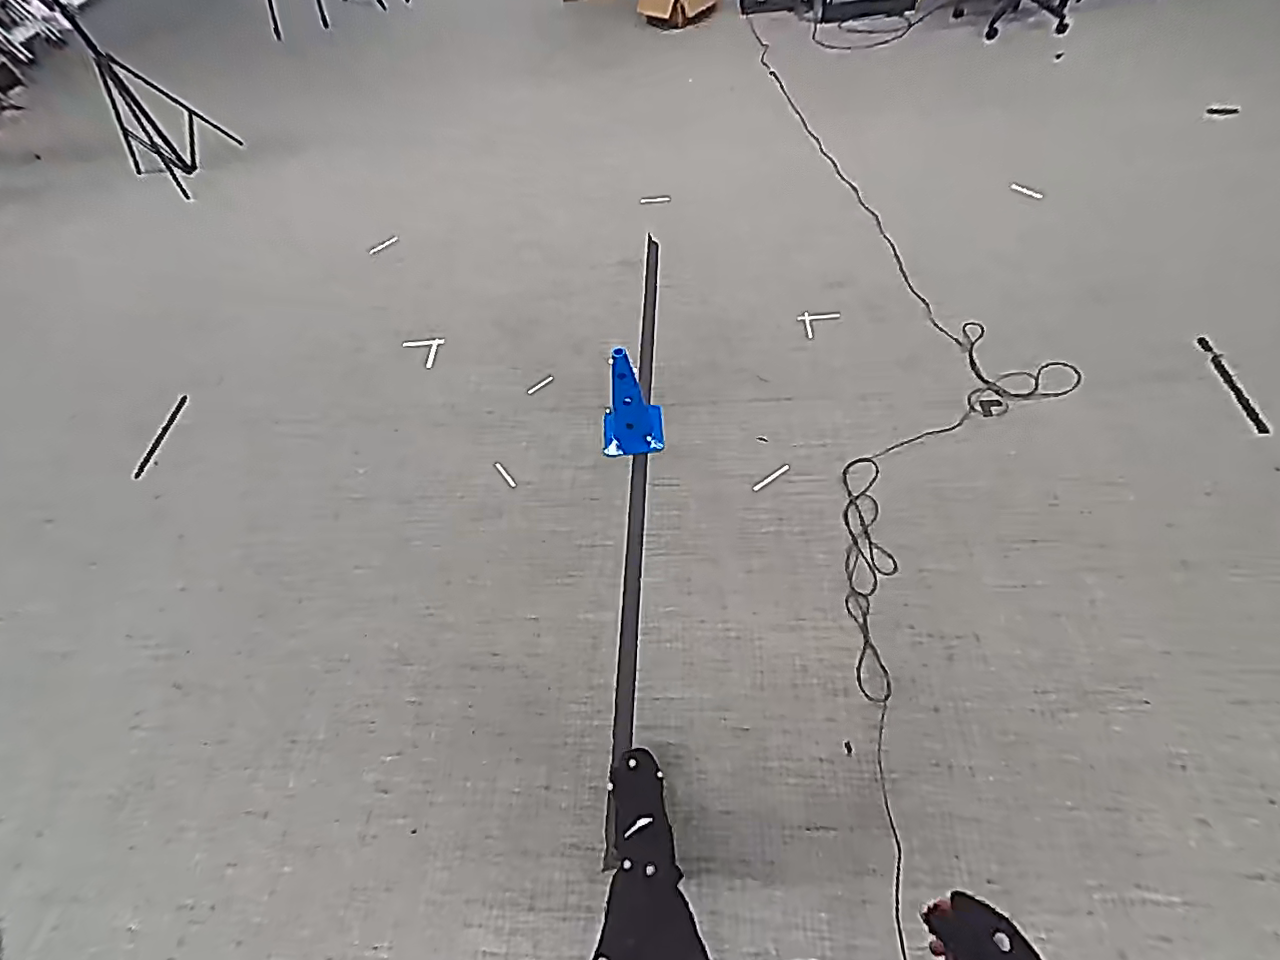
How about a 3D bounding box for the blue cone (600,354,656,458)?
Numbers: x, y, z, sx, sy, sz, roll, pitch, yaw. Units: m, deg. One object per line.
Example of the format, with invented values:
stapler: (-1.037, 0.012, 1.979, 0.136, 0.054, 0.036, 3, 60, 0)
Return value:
blue cone: (-0.062, -0.248, 1.697, 0.192, 0.380, 0.193, -5, 56, 5)
